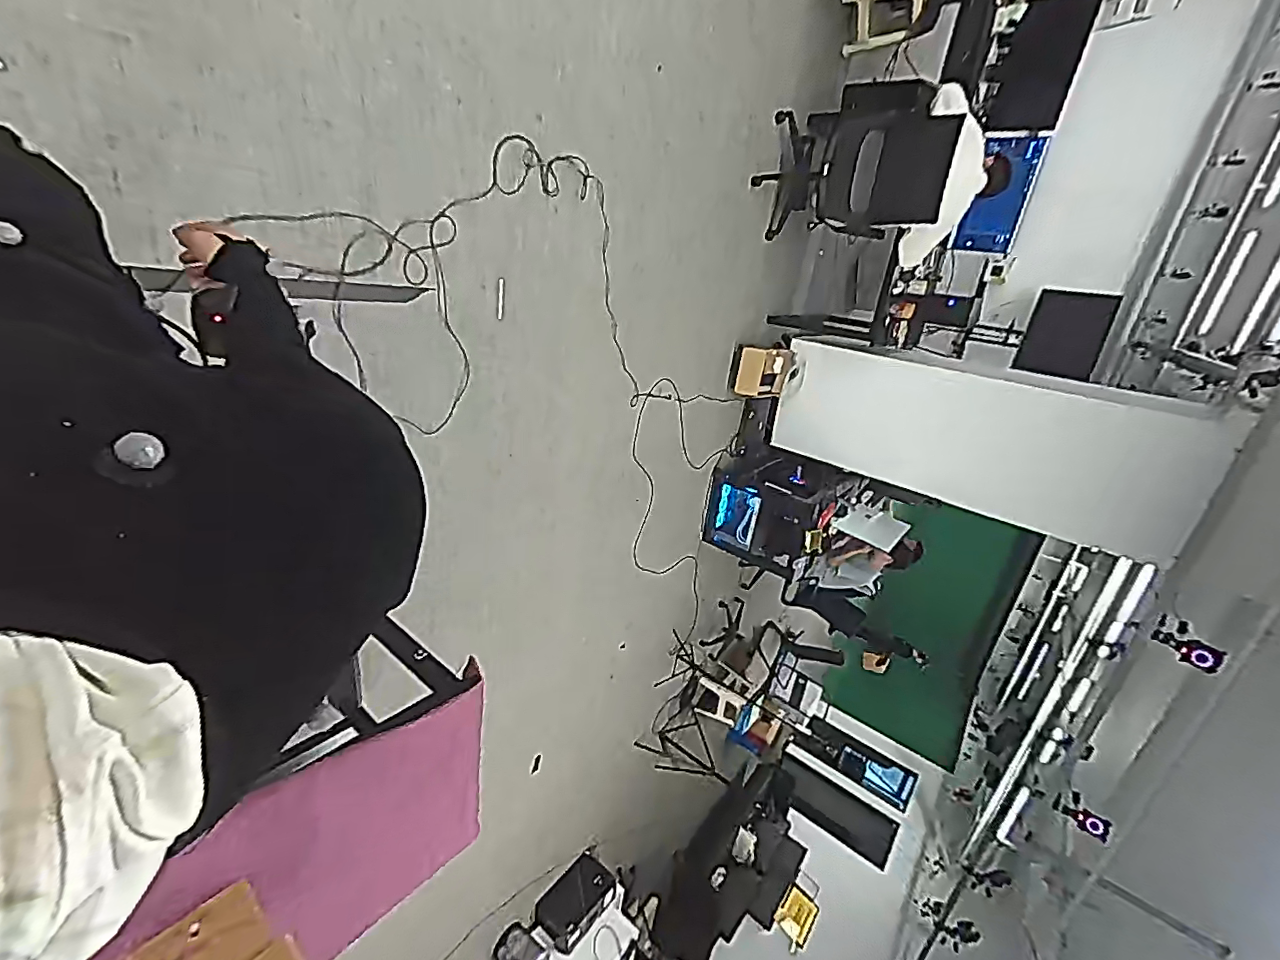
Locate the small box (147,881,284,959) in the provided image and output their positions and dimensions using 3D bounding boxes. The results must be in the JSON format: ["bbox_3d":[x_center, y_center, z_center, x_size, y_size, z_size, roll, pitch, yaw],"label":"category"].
[{"bbox_3d":[-0.760,0.896,0.979,0.179,0.176,0.168,-23,128,-47],"label":"small box"}]
